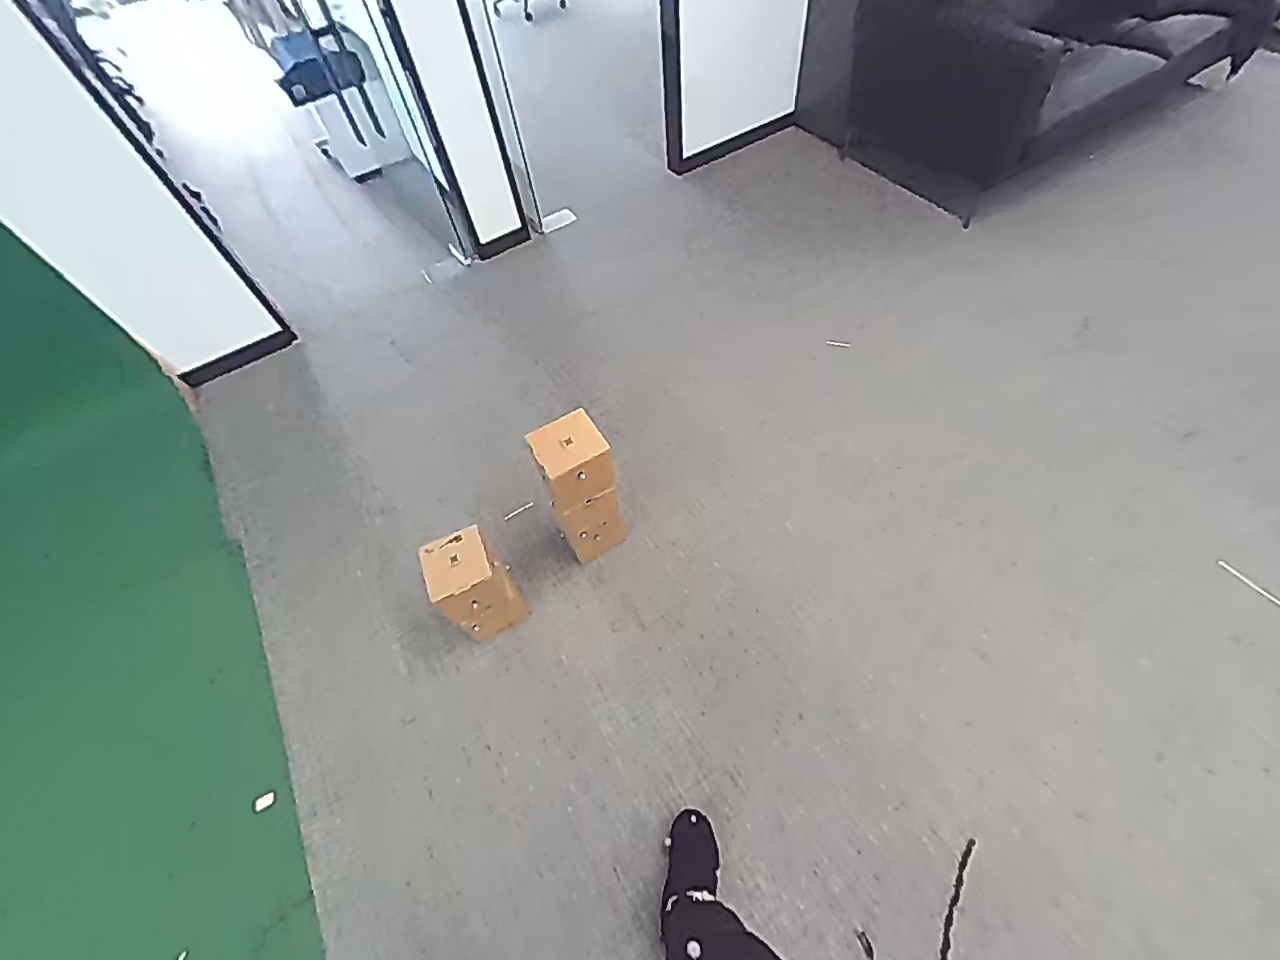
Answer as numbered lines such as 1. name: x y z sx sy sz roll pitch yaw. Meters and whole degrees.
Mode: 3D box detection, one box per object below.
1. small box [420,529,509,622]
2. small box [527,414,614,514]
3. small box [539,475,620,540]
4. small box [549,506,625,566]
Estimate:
1. small box: -0.477 0.269 1.484 0.168 0.176 0.179 -23 57 -10
2. small box: -0.180 -0.040 1.465 0.179 0.176 0.168 -29 58 -13
3. small box: -0.173 0.056 1.596 0.168 0.176 0.179 -28 57 -13
4. small box: -0.163 0.146 1.733 0.179 0.176 0.168 -29 58 -13
